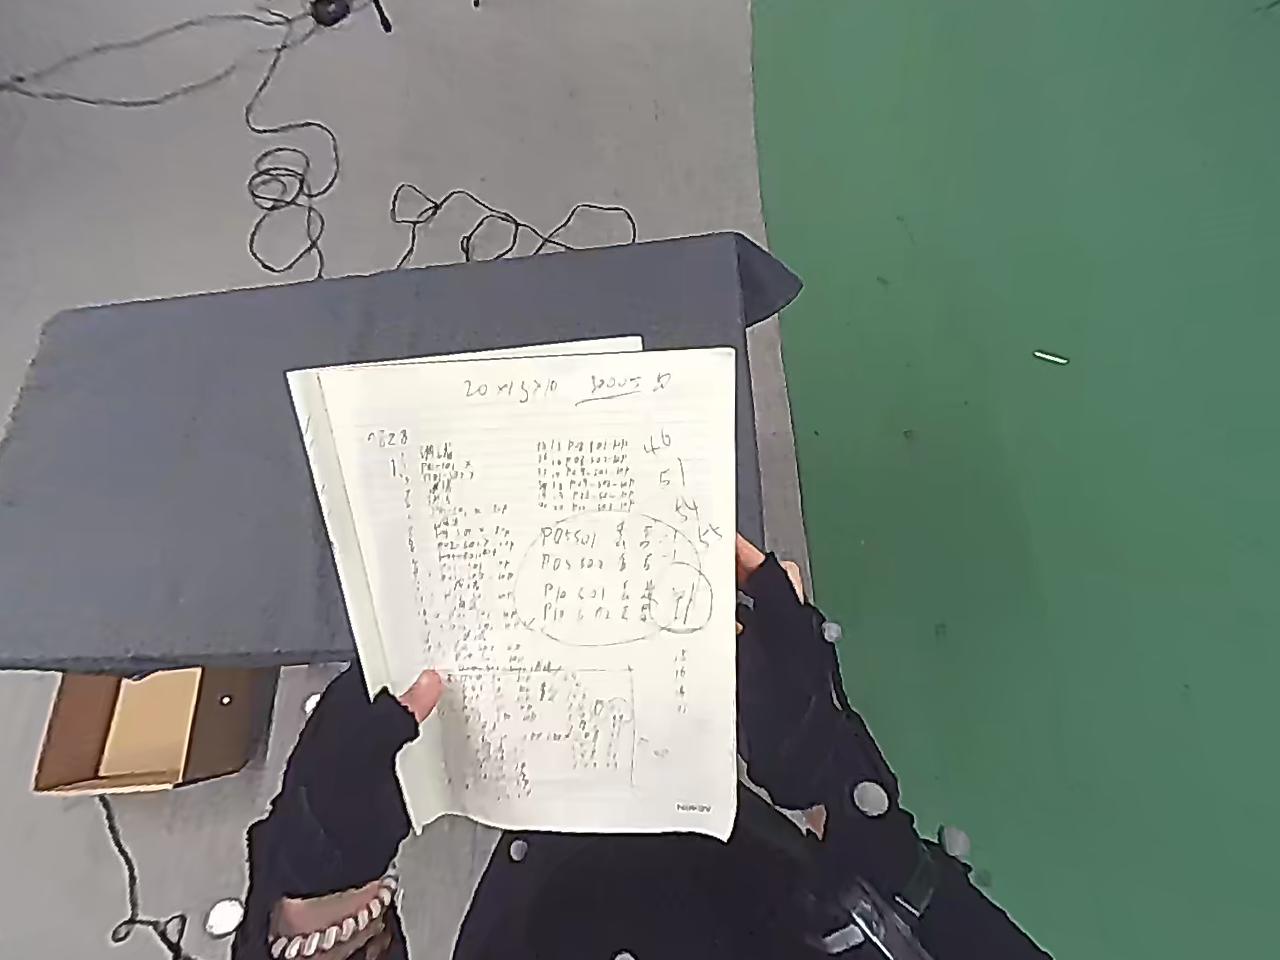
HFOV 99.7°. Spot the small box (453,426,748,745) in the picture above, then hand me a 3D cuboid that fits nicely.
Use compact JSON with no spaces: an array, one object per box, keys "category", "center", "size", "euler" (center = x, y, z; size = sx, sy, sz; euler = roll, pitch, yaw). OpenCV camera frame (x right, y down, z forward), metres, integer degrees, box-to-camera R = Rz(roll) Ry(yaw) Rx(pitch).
[{"category":"small box","center":[-0.024,0.076,0.413],"size":[0.168,0.176,0.179],"euler":[-11,79,3]}]
